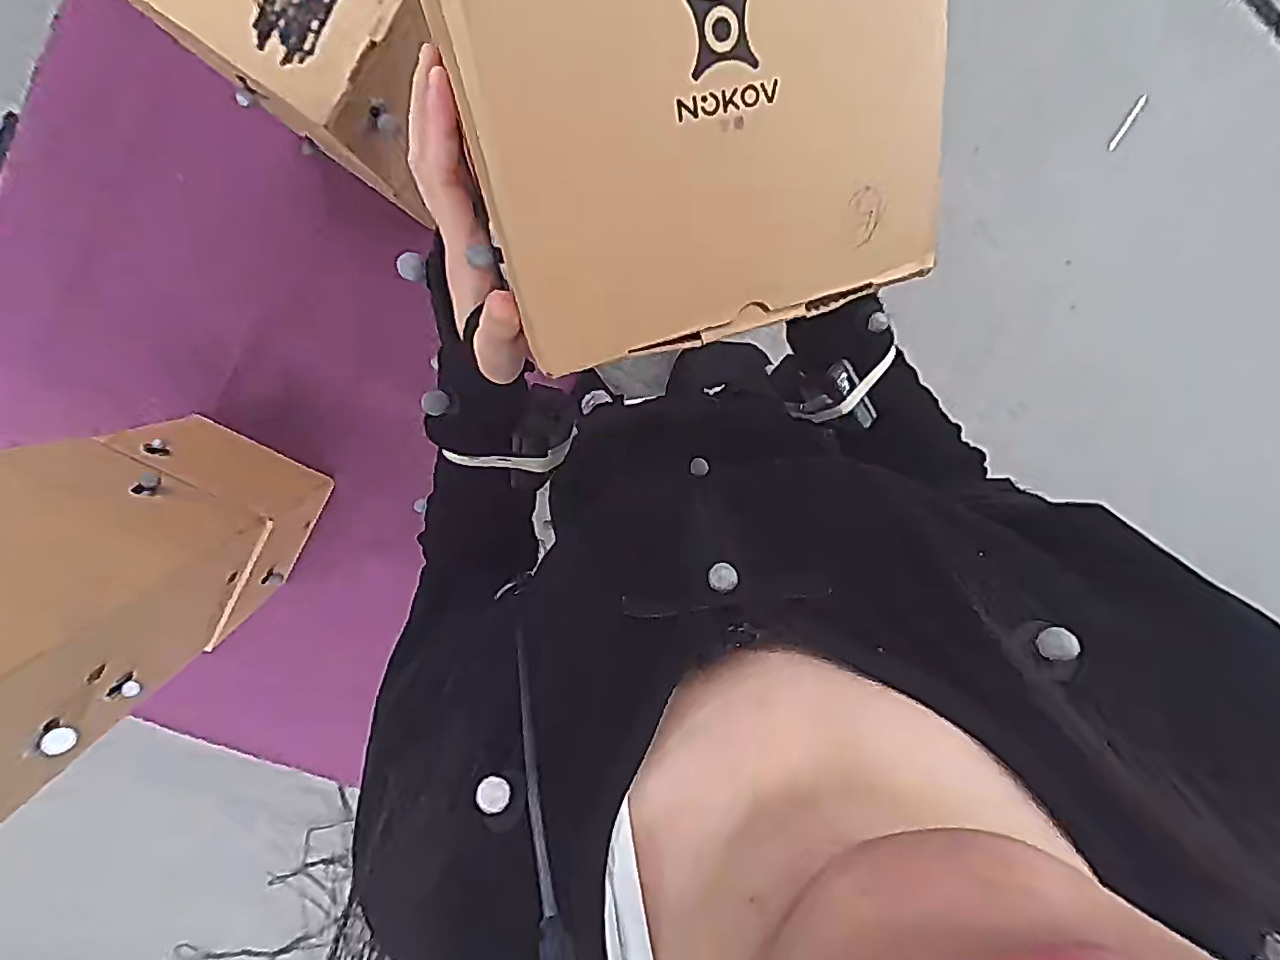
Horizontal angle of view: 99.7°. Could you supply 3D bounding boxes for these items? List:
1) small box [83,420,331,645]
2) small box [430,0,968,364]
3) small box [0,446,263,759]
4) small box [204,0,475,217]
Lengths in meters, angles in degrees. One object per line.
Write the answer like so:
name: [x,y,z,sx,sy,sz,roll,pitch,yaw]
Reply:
small box: [-0.491,0.046,0.611,0.179,0.176,0.168,29,98,-14]
small box: [0.009,-0.171,0.238,0.168,0.176,0.179,-18,116,-9]
small box: [-0.473,0.084,0.452,0.179,0.176,0.168,28,99,-13]
small box: [-0.255,-0.391,0.532,0.179,0.176,0.168,34,98,-15]
